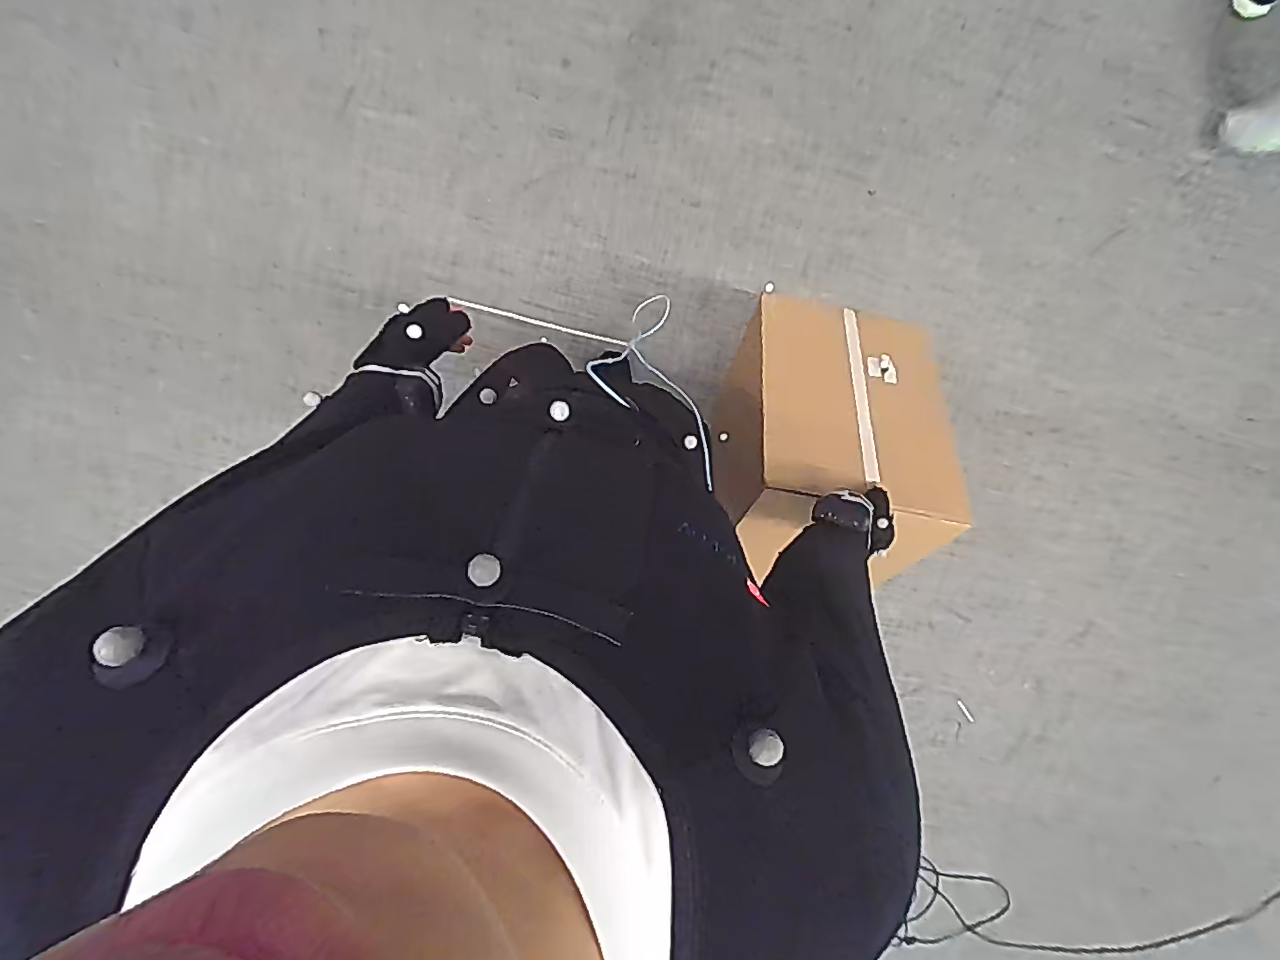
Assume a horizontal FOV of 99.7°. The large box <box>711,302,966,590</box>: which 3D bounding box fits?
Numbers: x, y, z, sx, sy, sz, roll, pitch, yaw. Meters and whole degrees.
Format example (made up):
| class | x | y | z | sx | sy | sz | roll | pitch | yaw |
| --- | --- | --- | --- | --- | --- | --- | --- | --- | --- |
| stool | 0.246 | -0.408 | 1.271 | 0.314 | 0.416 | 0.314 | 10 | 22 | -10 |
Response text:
| class | x | y | z | sx | sy | sz | roll | pitch | yaw |
| --- | --- | --- | --- | --- | --- | --- | --- | --- | --- |
| large box | 0.321 | -0.051 | 0.998 | 0.320 | 0.320 | 0.408 | 11 | 58 | -5 |
